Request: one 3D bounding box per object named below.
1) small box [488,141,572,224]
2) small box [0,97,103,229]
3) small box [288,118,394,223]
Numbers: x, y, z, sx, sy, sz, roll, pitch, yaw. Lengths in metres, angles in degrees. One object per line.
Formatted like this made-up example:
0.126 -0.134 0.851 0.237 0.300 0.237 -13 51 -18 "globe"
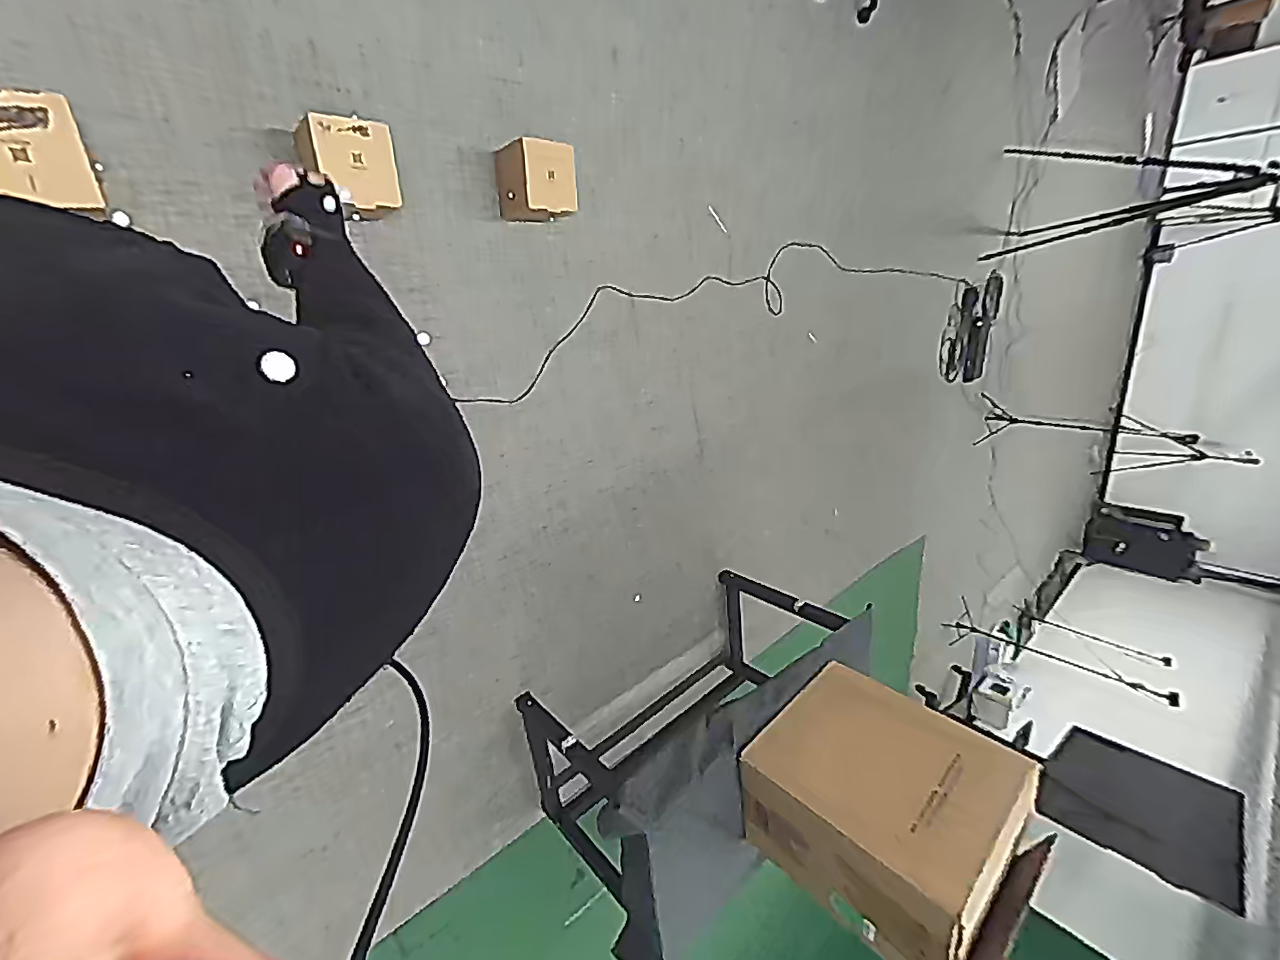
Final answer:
-0.317 -0.844 1.553 0.168 0.176 0.179 -18 112 -38 "small box"
-1.085 -0.547 0.946 0.168 0.176 0.179 -20 115 -36 "small box"
-0.694 -0.705 1.255 0.168 0.176 0.179 -17 112 -37 "small box"
